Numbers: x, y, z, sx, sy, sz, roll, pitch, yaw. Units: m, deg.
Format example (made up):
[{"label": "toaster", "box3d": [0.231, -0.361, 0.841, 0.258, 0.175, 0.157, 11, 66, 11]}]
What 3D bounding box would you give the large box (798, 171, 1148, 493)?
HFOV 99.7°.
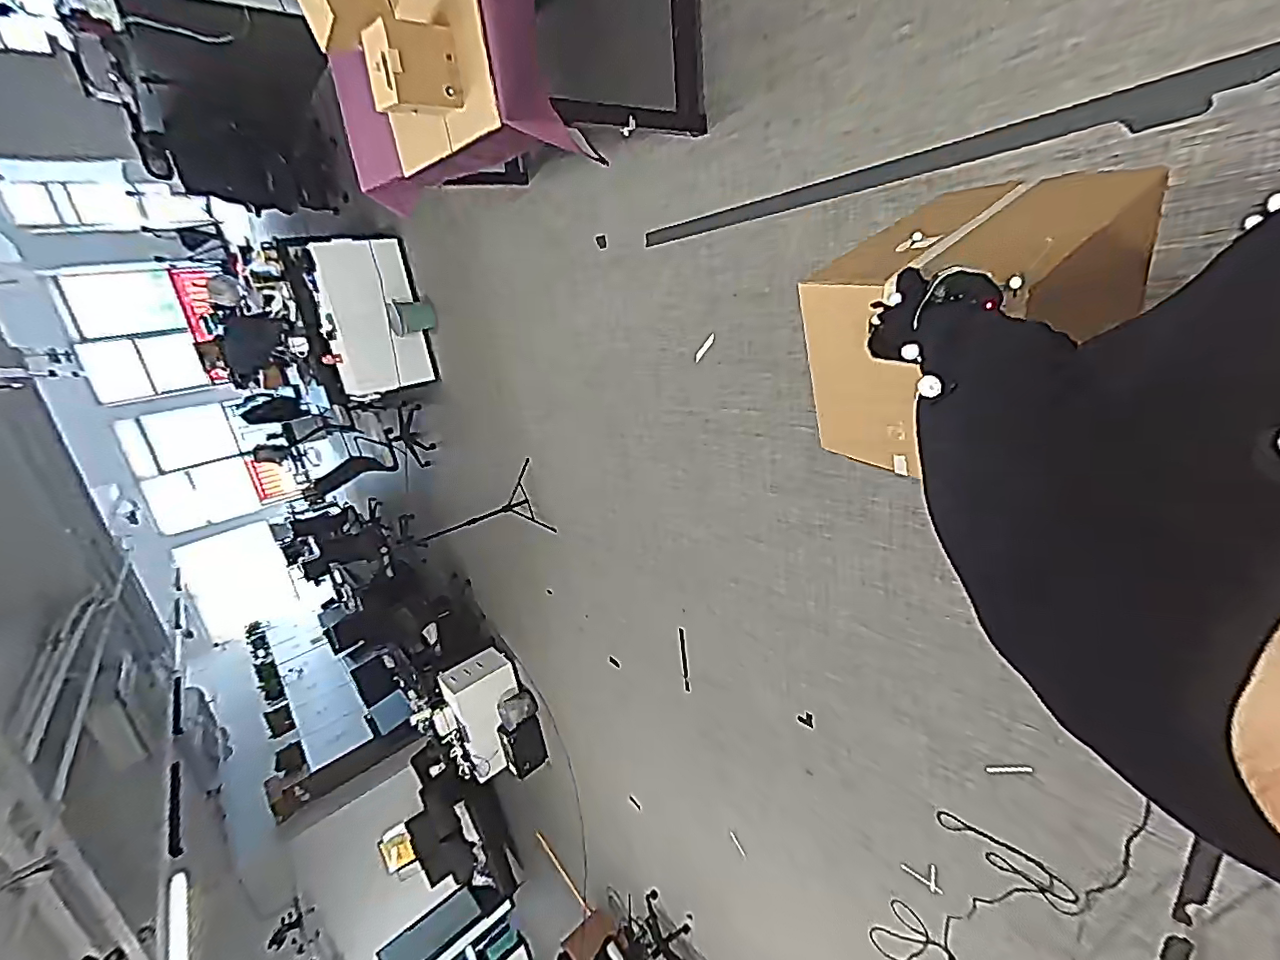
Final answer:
[{"label": "large box", "box3d": [0.524, -0.246, 0.874, 0.320, 0.408, 0.320, 26, 146, 50]}]
